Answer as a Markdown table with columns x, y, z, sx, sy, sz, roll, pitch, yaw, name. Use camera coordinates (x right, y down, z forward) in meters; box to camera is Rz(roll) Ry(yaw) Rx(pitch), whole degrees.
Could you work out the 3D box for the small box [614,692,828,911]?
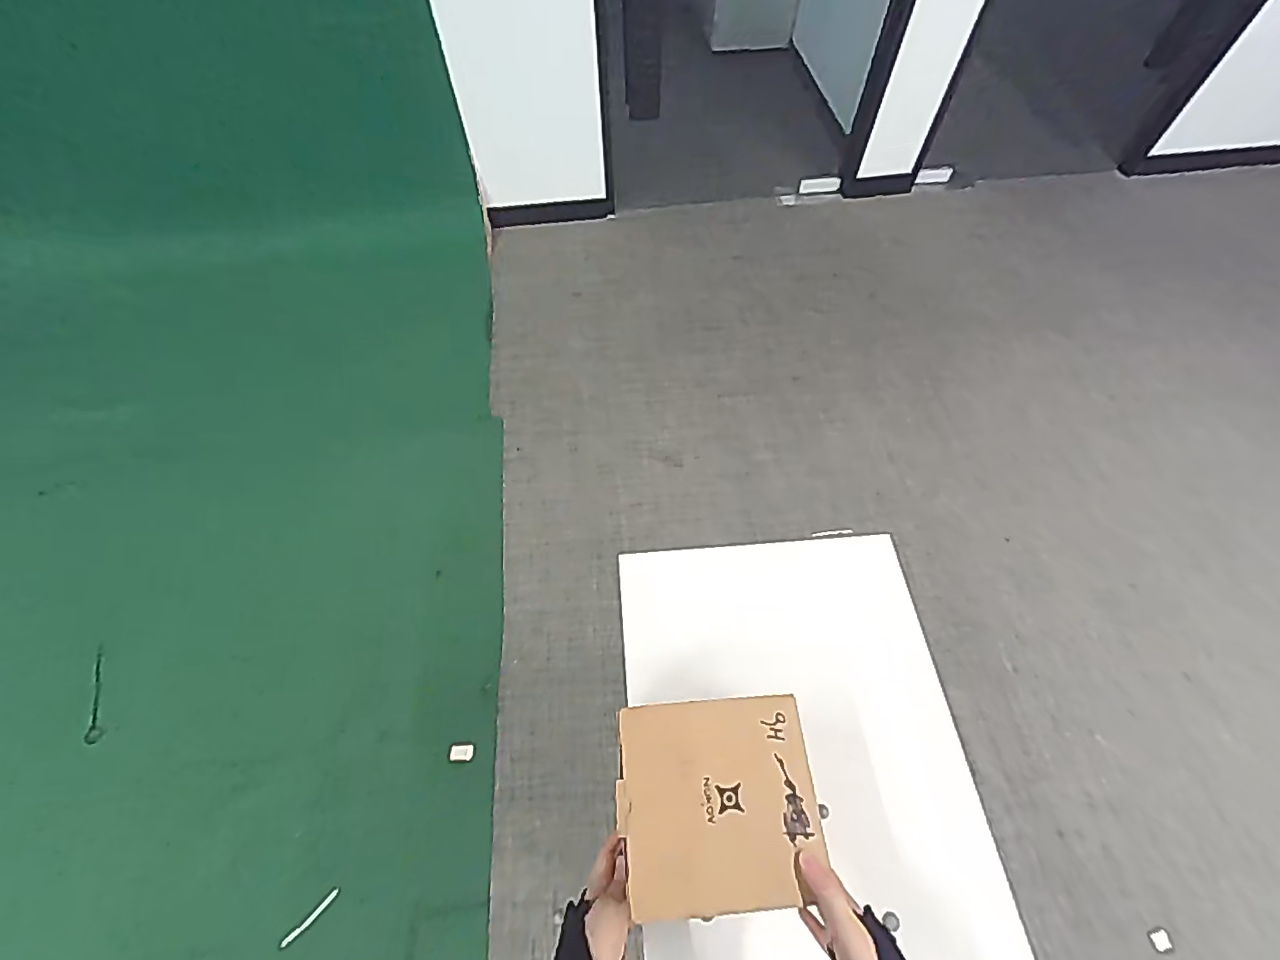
| x | y | z | sx | sy | sz | roll | pitch | yaw | name |
| --- | --- | --- | --- | --- | --- | --- | --- | --- | --- |
| 0.066 | 0.323 | 0.554 | 0.179 | 0.176 | 0.168 | -2 | 59 | -3 | small box |
